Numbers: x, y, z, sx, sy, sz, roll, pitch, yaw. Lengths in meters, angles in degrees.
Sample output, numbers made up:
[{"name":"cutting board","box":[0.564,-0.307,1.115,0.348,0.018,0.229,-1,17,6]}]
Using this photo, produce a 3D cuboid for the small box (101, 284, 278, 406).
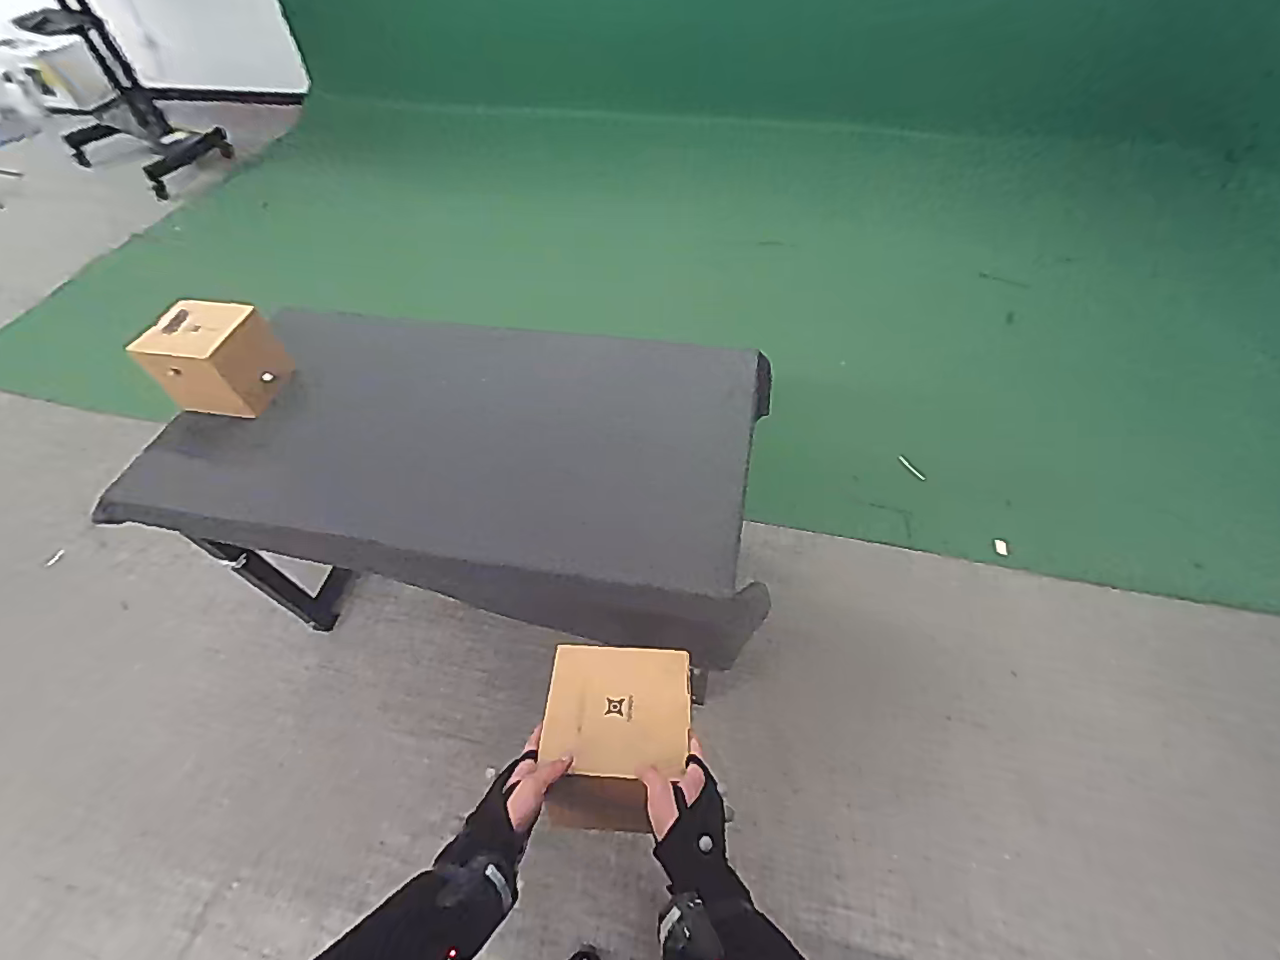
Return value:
[{"name":"small box","box":[-0.892,-0.269,1.092,0.179,0.176,0.168,8,53,4]}]

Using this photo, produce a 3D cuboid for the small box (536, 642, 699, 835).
[{"name":"small box","box":[-0.025,0.327,0.684,0.179,0.176,0.168,1,38,-1]}]
